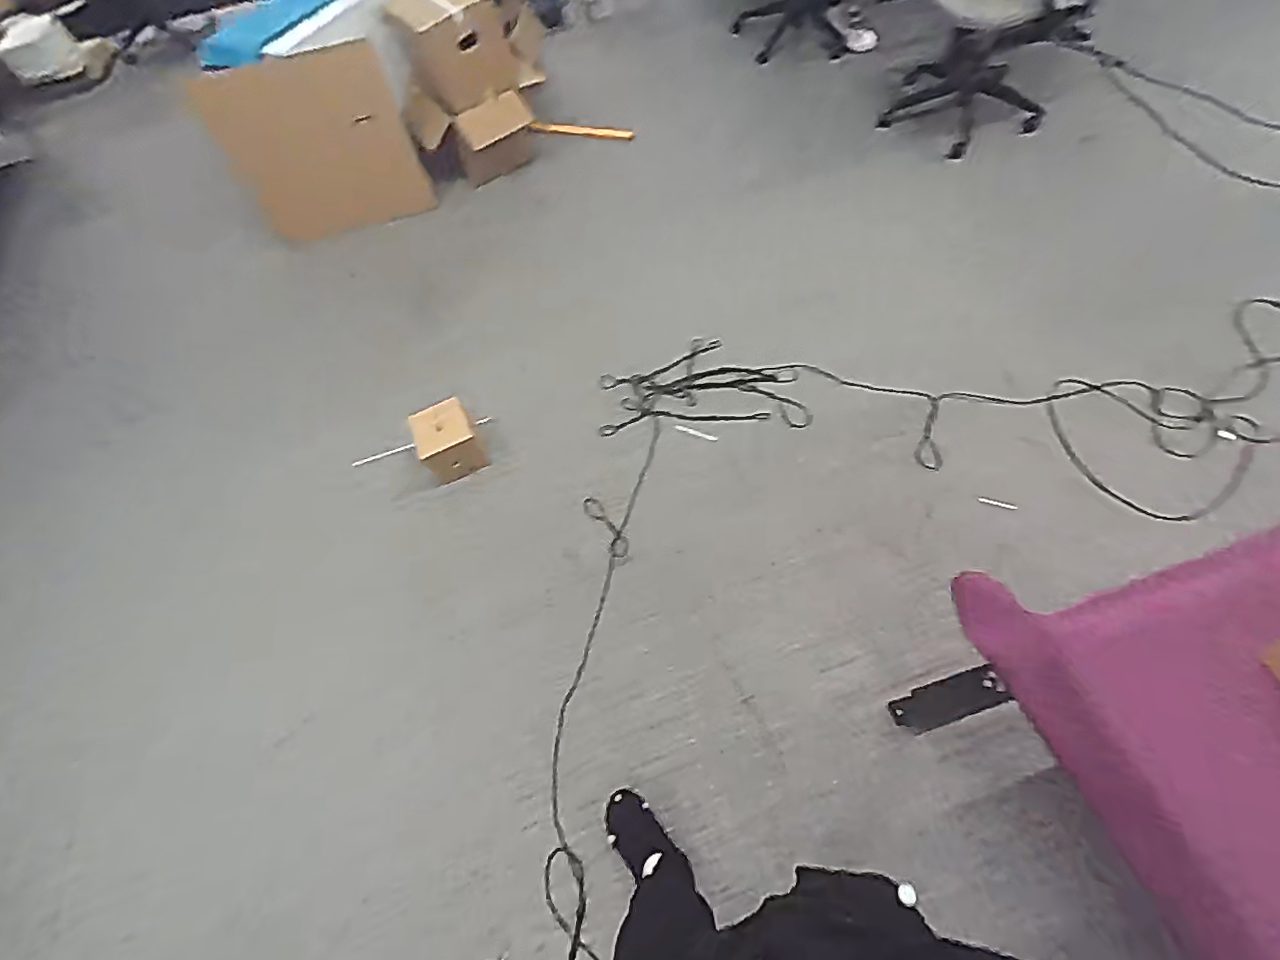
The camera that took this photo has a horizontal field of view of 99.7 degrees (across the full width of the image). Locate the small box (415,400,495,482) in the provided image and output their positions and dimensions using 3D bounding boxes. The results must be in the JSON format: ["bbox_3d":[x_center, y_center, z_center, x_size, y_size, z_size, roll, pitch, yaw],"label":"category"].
[{"bbox_3d":[-0.580,-0.115,1.707,0.168,0.176,0.179,-25,61,-7],"label":"small box"}]
